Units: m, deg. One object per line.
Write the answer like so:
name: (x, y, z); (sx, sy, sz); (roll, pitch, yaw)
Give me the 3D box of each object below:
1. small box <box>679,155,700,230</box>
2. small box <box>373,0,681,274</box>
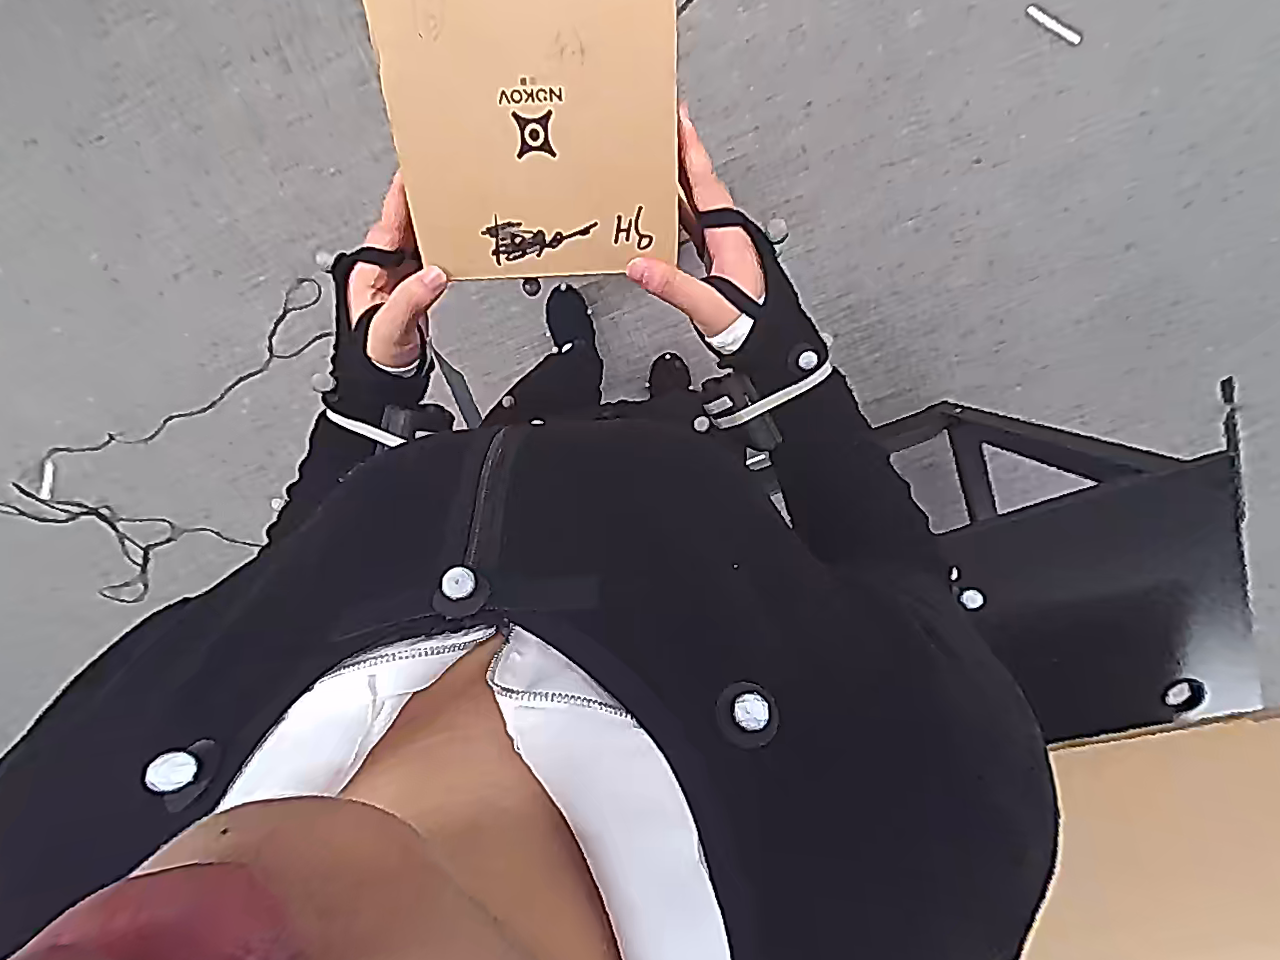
small box: (0.008, -0.580, 1.103); (0.179, 0.176, 0.168); (-27, 103, 8)
small box: (-0.061, -0.248, 0.379); (0.168, 0.176, 0.179); (-2, 118, 0)
